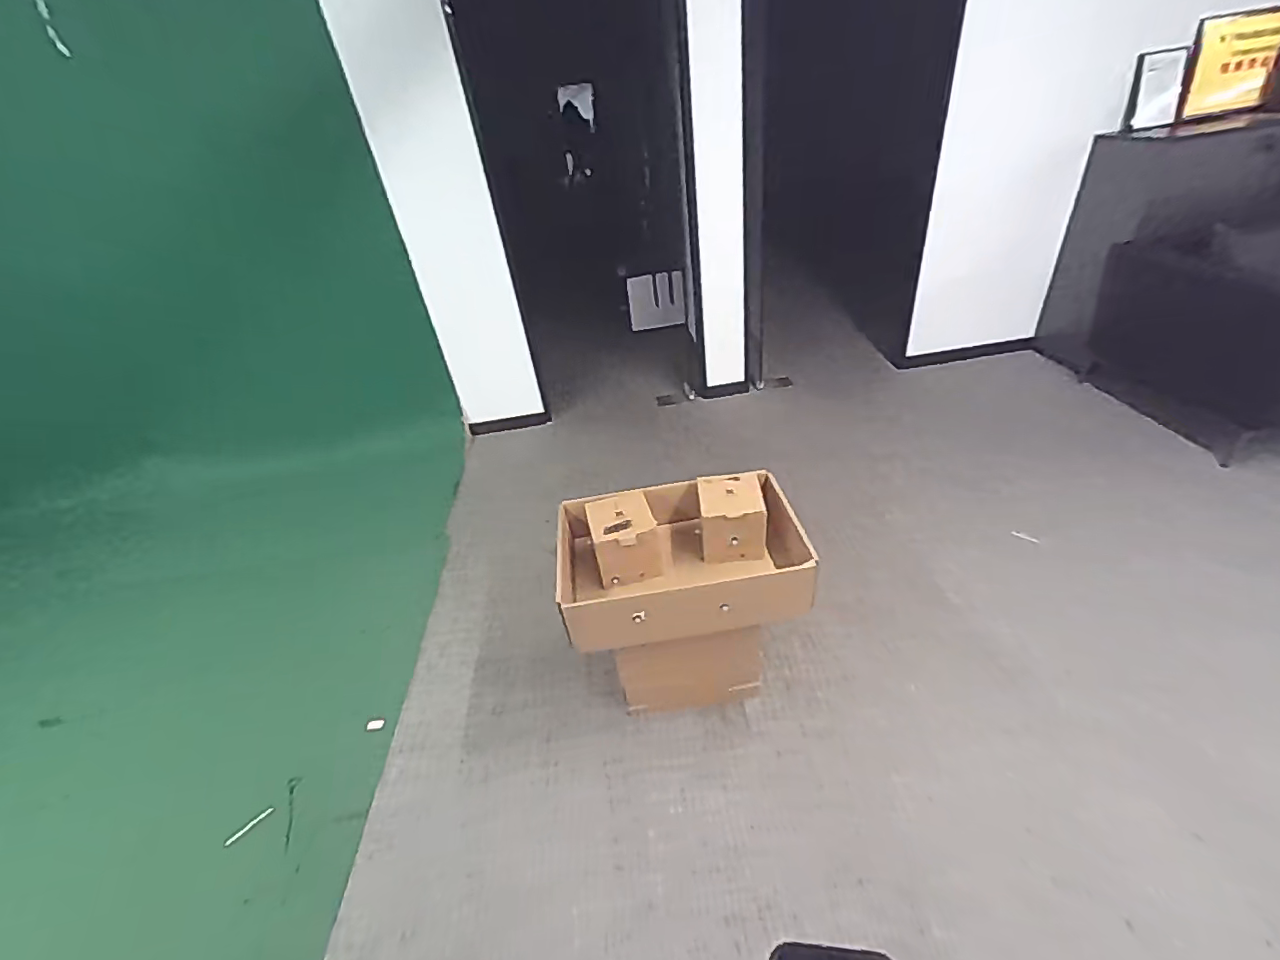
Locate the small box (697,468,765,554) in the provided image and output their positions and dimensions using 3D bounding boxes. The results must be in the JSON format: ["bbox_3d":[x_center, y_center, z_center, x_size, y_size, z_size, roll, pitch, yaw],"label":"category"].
[{"bbox_3d":[0.248,0.090,1.480,0.168,0.176,0.179,-5,37,5],"label":"small box"}]
